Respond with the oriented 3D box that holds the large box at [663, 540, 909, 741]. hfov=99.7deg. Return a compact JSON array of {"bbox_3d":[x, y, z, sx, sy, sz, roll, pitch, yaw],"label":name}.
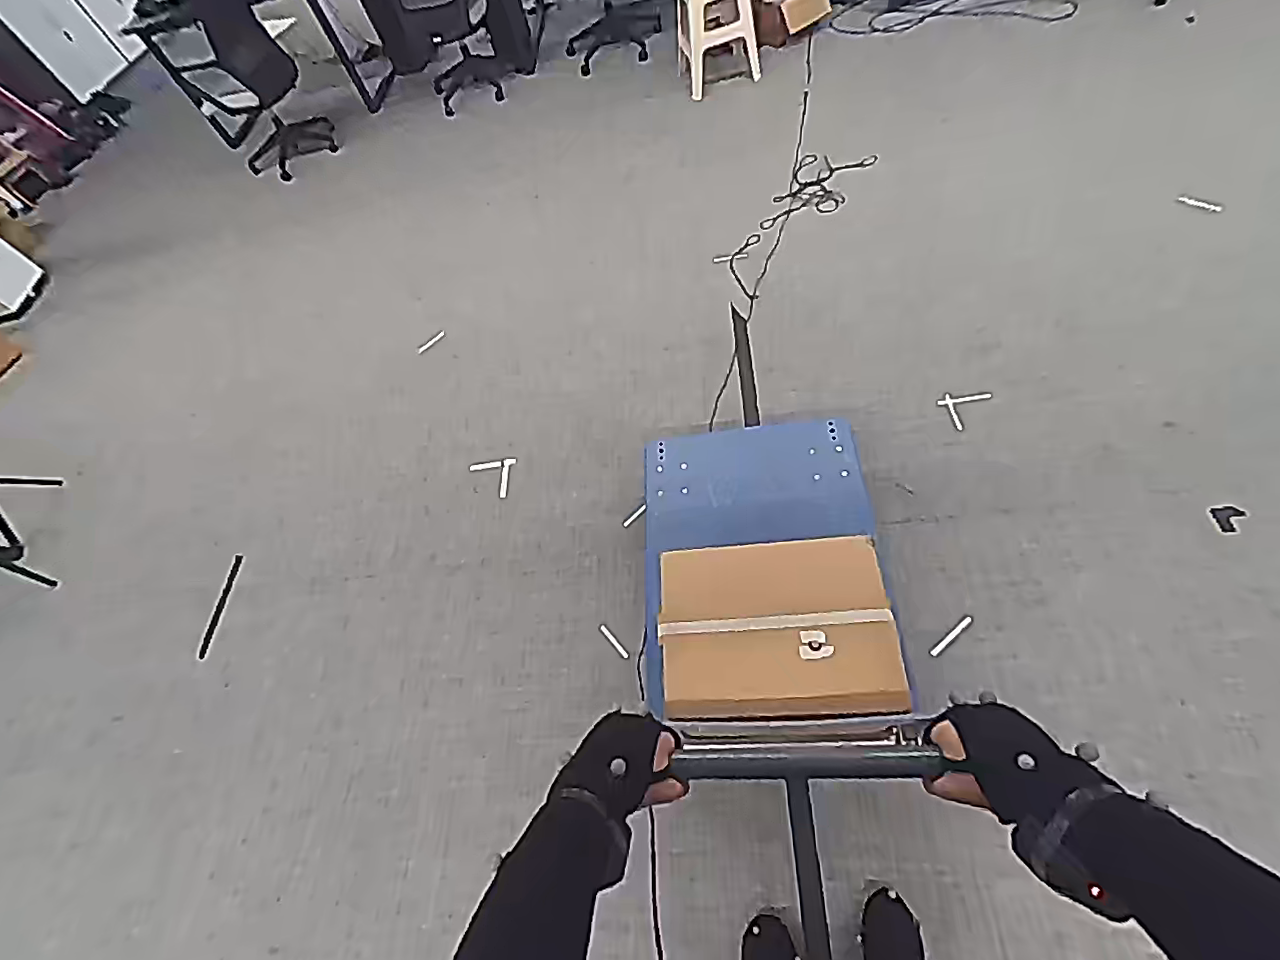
[{"bbox_3d":[0.271,0.345,1.113,0.408,0.320,0.320,-6,59,9],"label":"large box"}]
